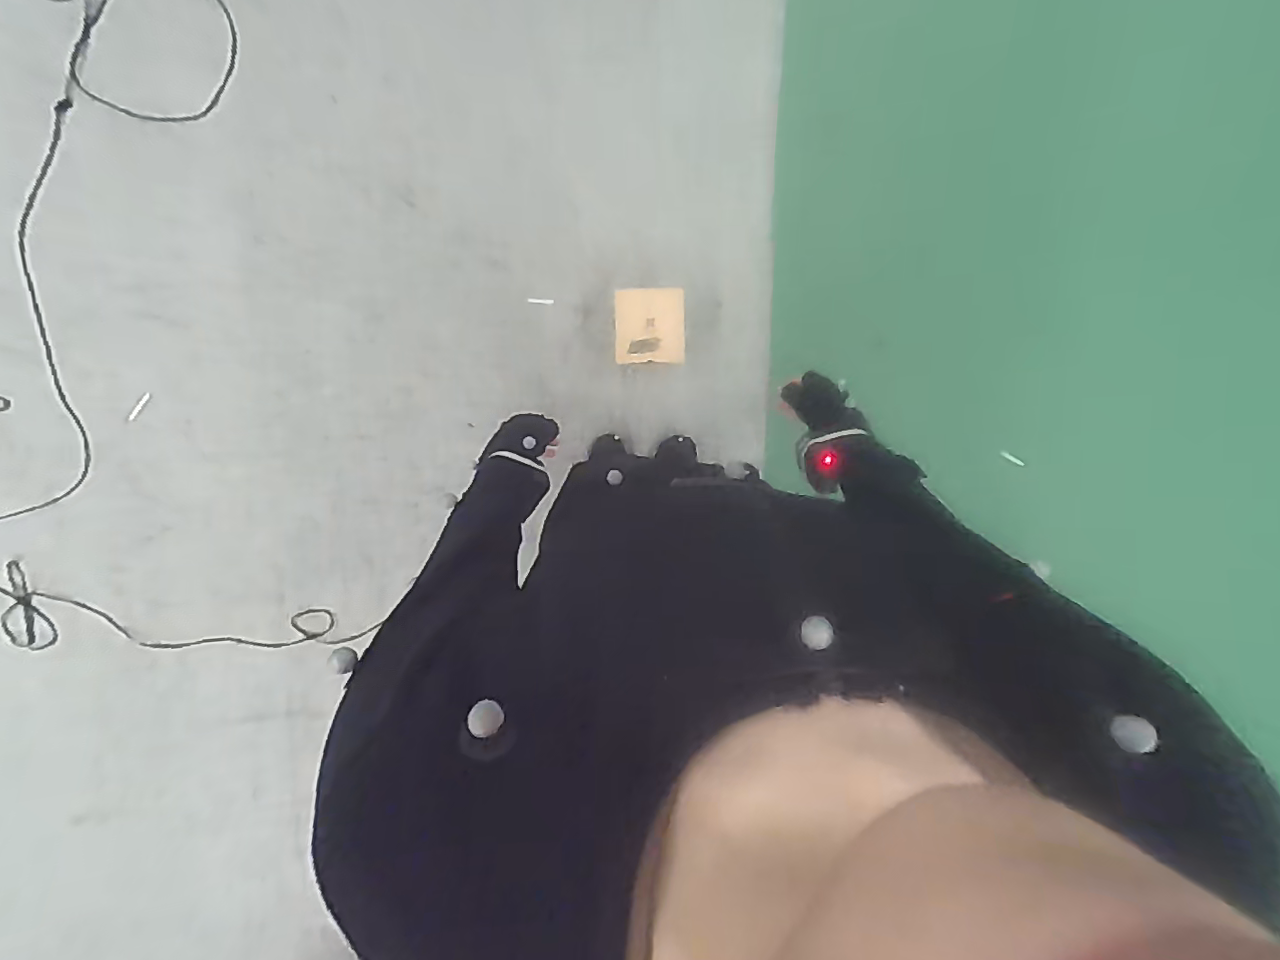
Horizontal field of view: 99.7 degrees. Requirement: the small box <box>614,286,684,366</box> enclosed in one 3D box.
[{"bbox_3d":[0.020,-0.377,1.348,0.168,0.176,0.179,-1,97,-1],"label":"small box"}]
